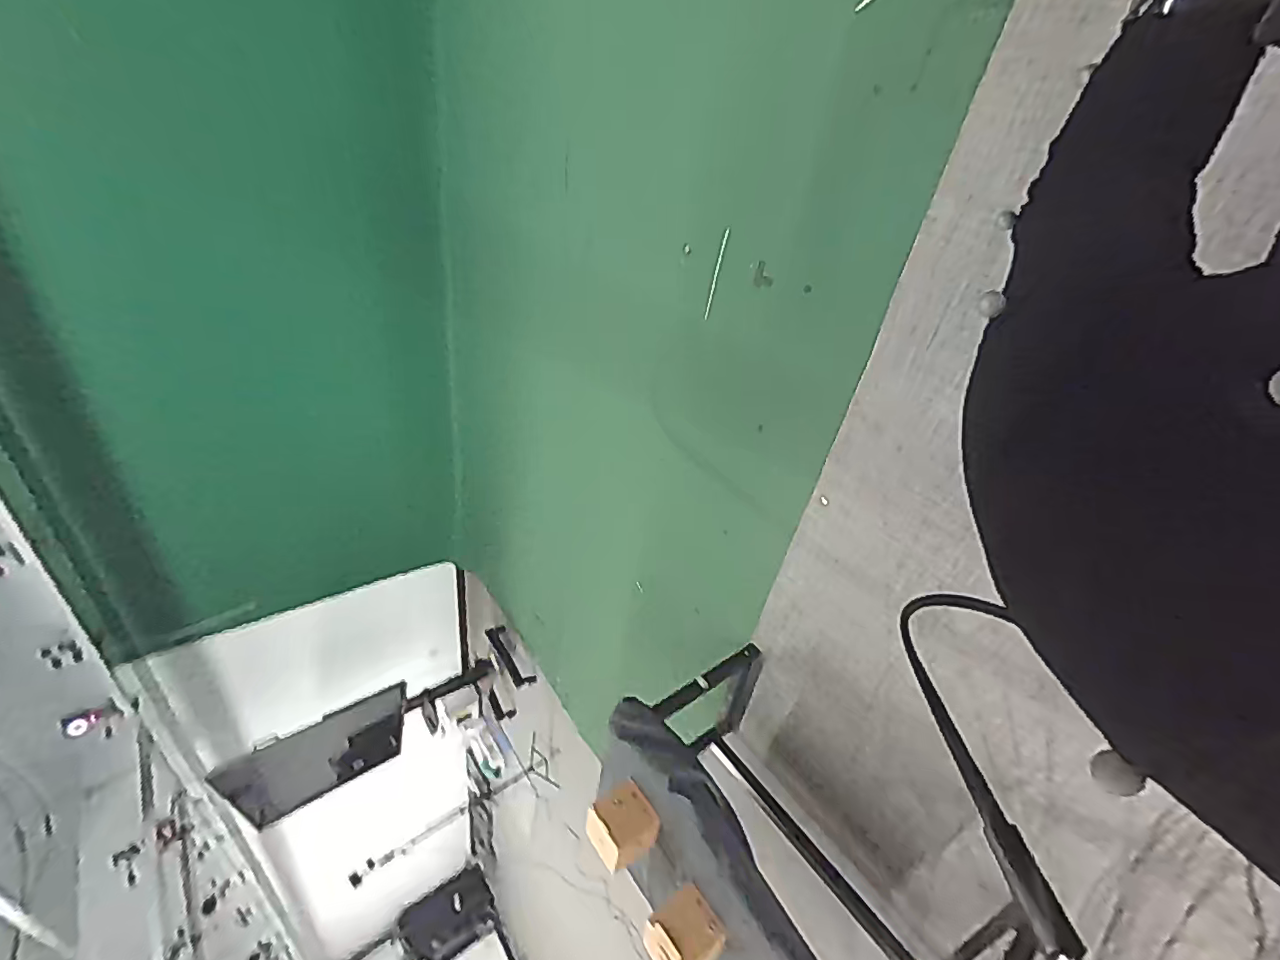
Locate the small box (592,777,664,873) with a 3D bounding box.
[{"bbox_3d":[-0.038,1.114,1.760,0.168,0.176,0.179,38,135,40],"label":"small box"}]

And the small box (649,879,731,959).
[{"bbox_3d":[0.149,1.341,1.601,0.168,0.176,0.179,36,133,41],"label":"small box"}]
